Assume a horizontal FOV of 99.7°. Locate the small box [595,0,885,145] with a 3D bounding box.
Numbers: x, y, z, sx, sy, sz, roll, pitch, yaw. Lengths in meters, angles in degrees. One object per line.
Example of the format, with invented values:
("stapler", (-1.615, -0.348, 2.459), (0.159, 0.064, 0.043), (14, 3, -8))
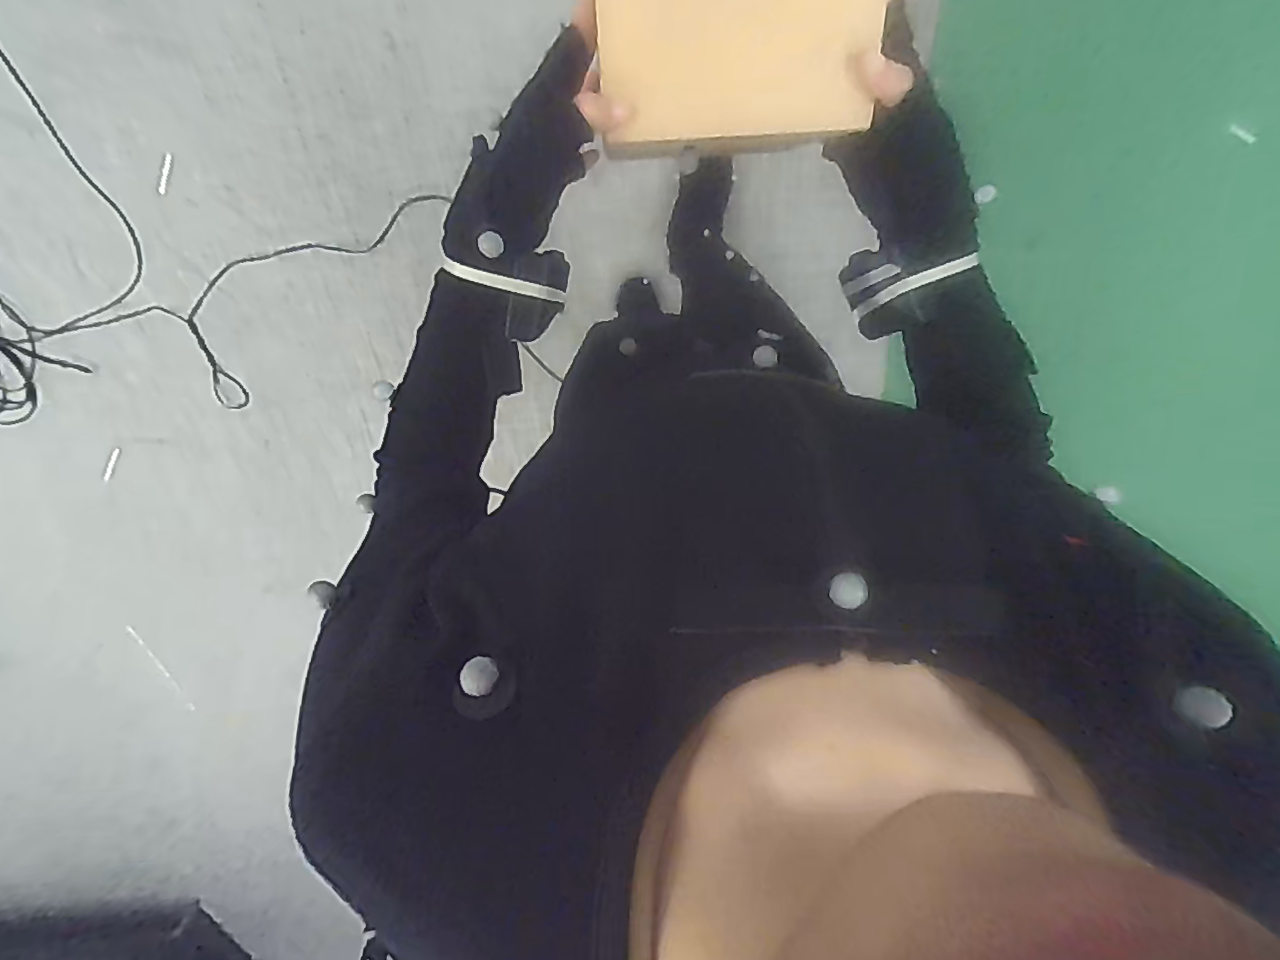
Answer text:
("small box", (0.053, -0.333, 0.361), (0.168, 0.176, 0.179), (-4, 115, -1))
